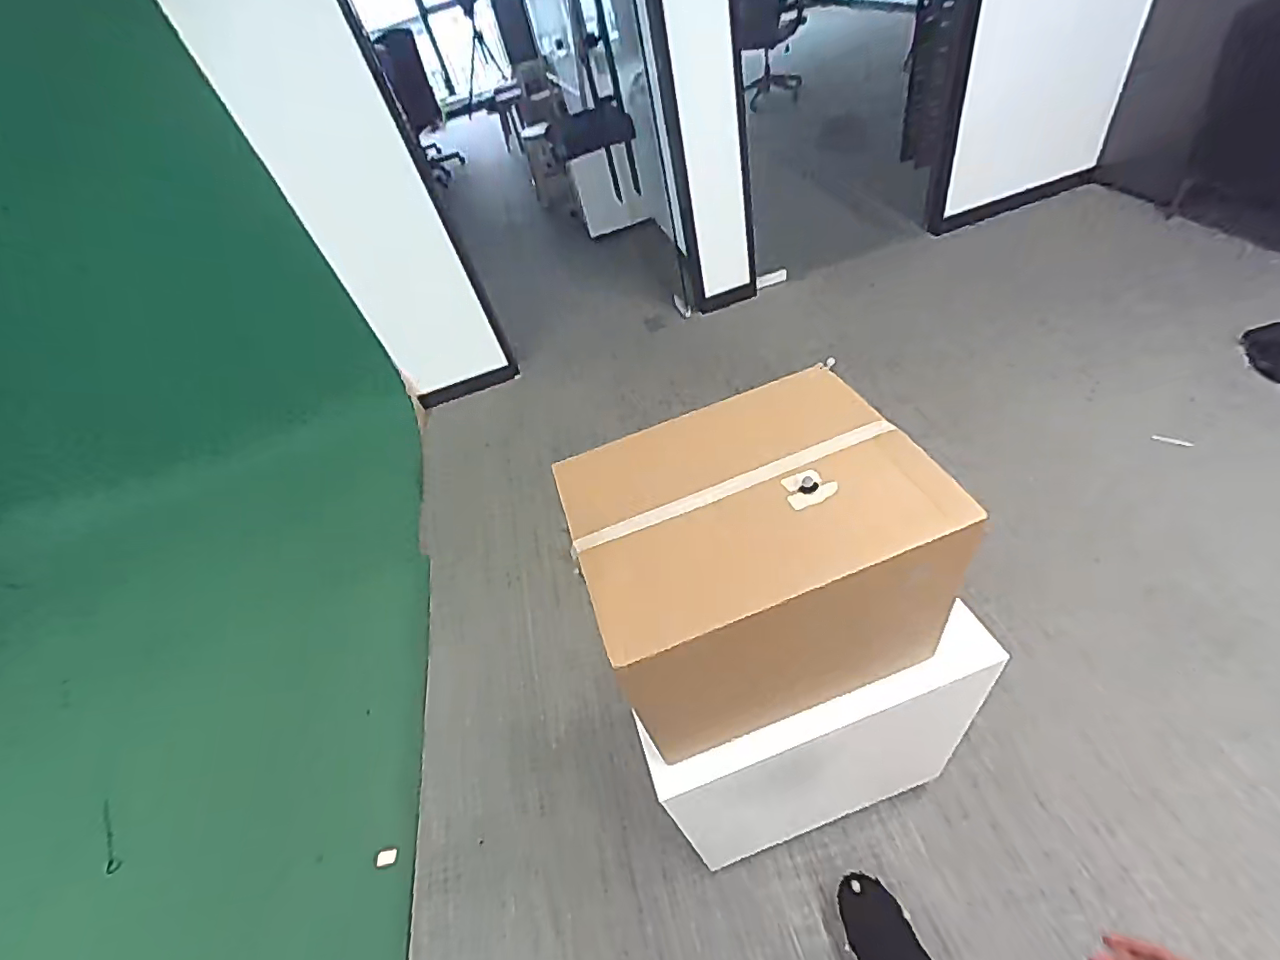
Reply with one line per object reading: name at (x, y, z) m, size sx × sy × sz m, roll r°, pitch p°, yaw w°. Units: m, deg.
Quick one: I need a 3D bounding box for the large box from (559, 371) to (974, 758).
large box at (0.146, 0.112, 0.748) m, size 0.408 × 0.320 × 0.320 m, roll -20°, pitch 46°, yaw -5°
